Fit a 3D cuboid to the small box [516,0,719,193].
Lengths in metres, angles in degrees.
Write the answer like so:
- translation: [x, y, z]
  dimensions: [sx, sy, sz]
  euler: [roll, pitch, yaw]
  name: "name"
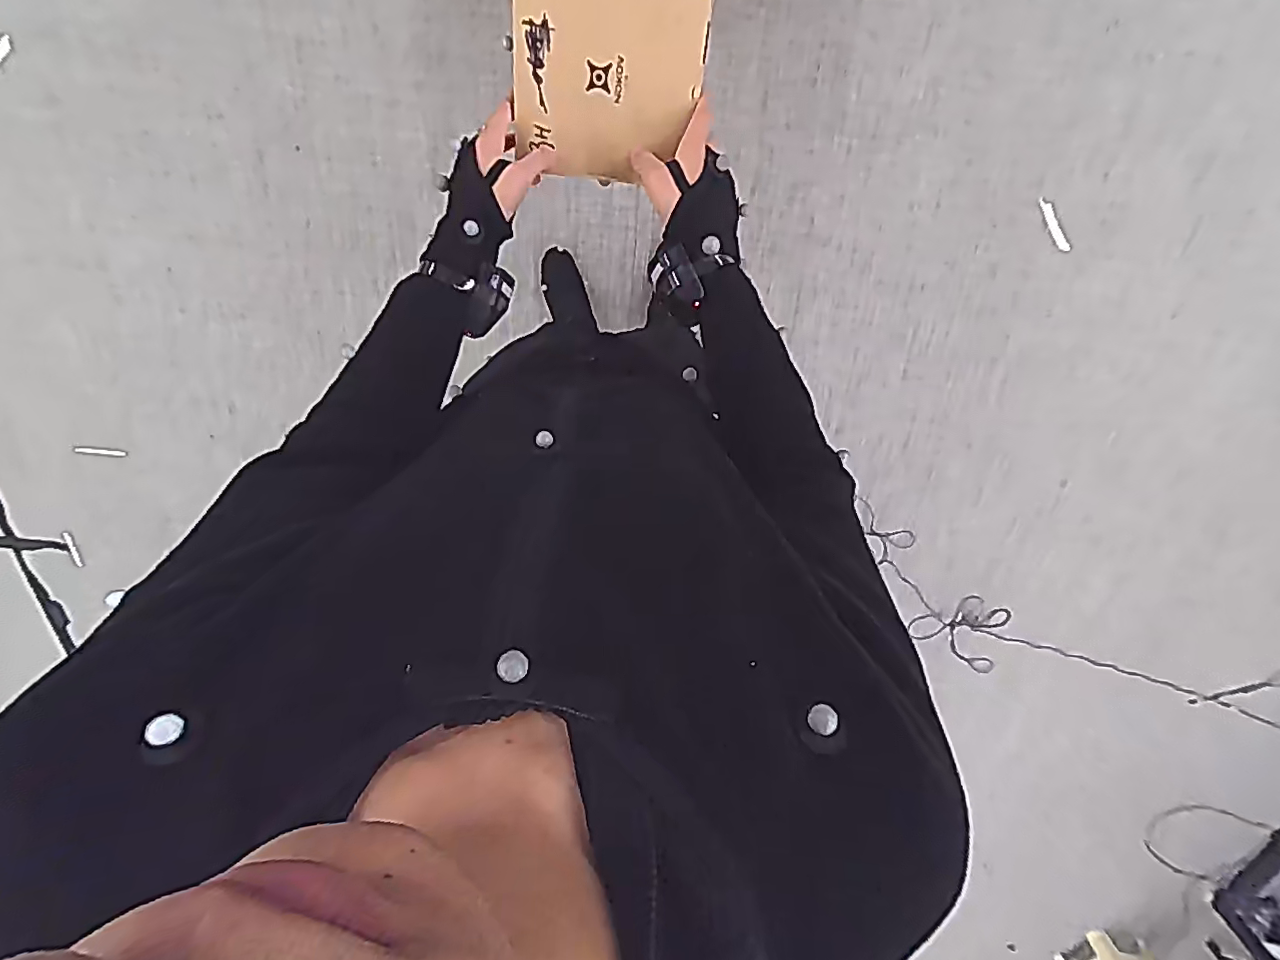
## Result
- translation: [-0.029, -0.411, 0.561]
  dimensions: [0.179, 0.176, 0.168]
  euler: [4, 125, -5]
  name: "small box"
